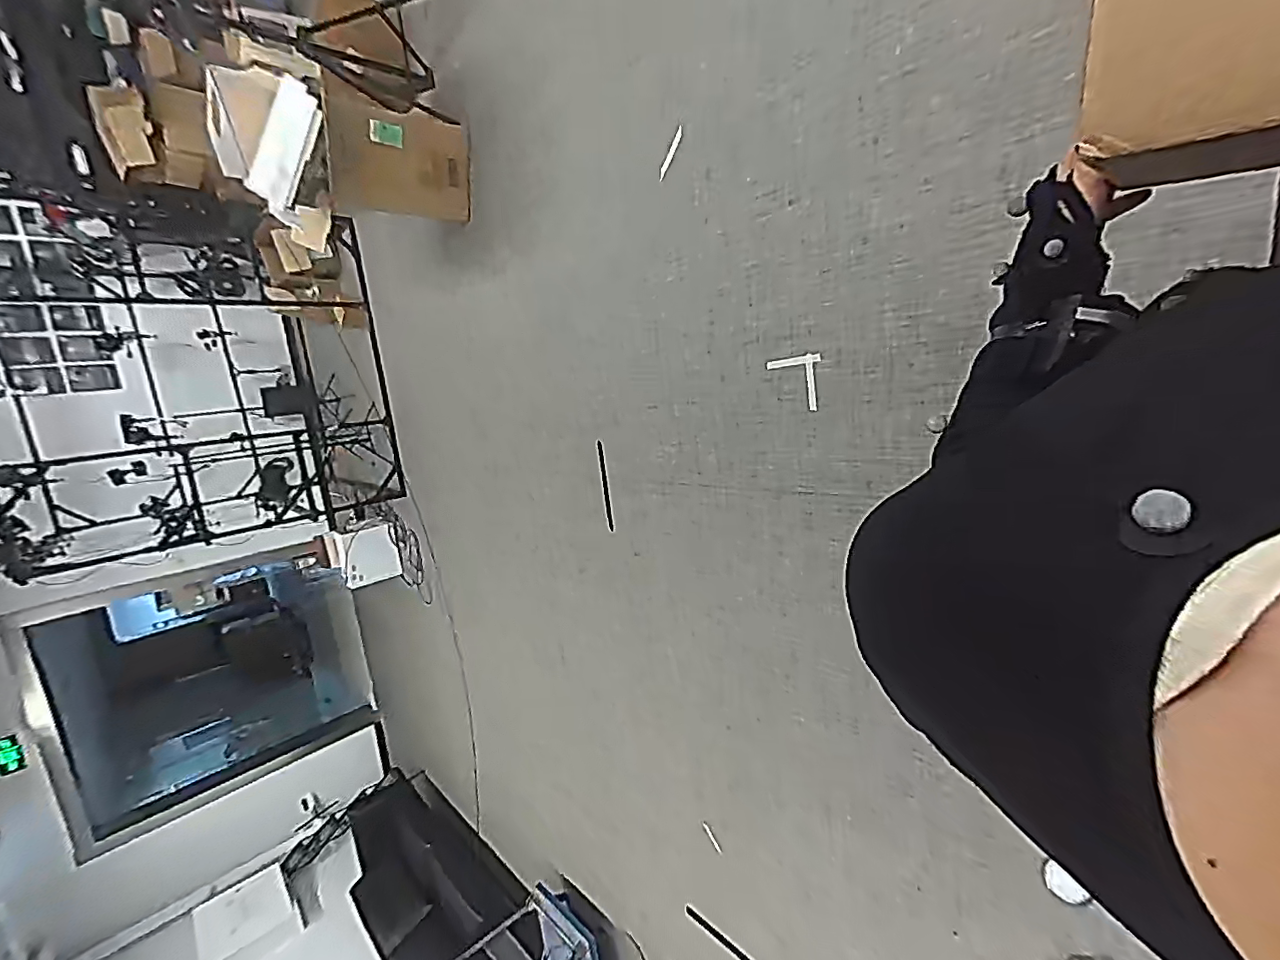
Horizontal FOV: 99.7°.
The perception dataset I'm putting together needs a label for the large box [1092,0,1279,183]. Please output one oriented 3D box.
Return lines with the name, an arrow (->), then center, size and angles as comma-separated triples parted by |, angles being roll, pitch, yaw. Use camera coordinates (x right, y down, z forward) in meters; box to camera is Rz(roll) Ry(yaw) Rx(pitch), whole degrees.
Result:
large box -> 0.424, -0.319, 0.171 | 0.408, 0.320, 0.320 | 9, 116, 40
